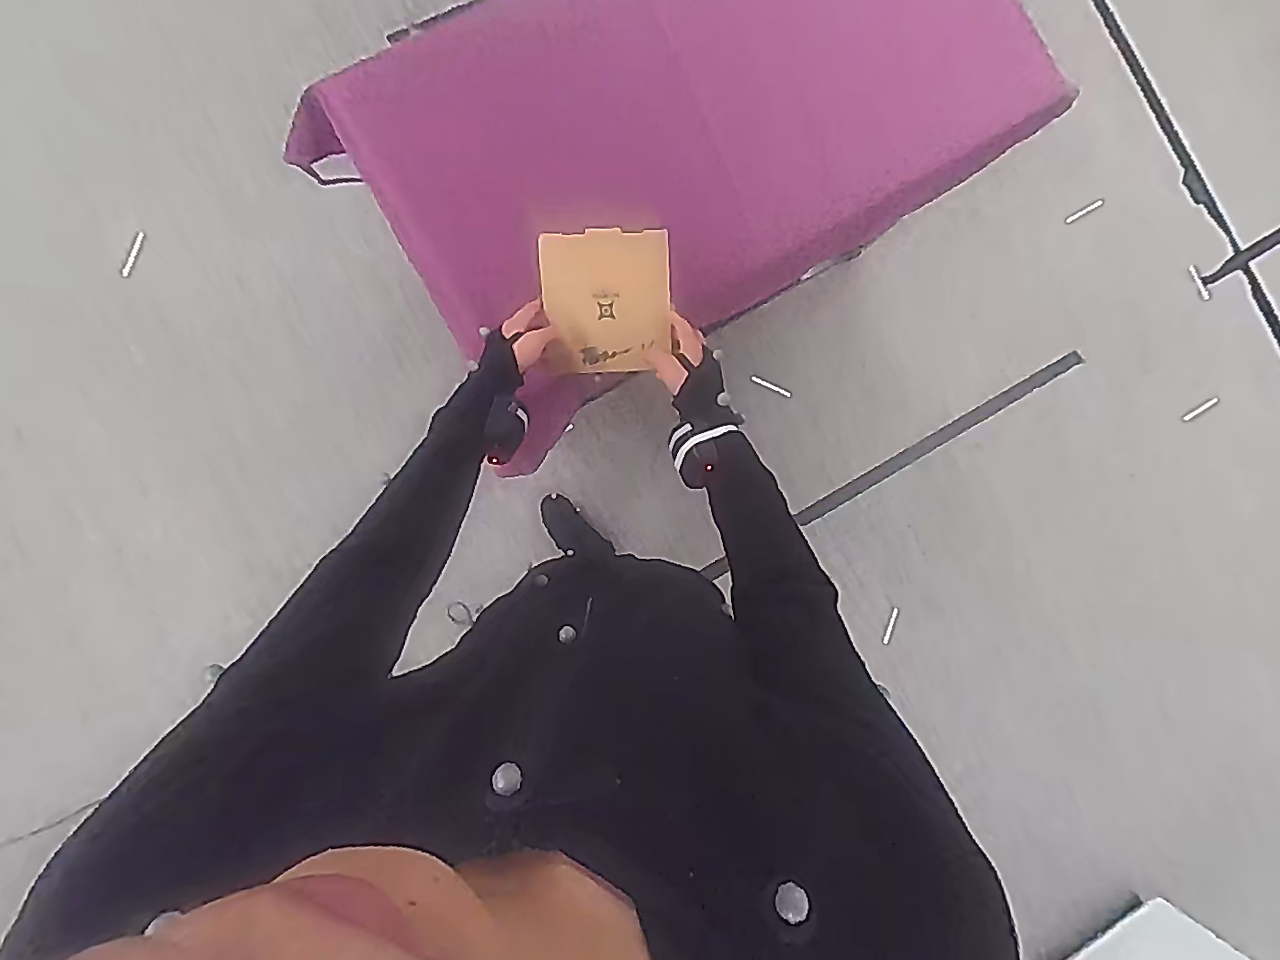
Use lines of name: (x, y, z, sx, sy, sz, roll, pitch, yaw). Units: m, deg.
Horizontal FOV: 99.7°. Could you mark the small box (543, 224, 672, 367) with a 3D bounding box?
small box: (-0.043, -0.253, 0.775, 0.168, 0.176, 0.179, -2, 103, -1)
